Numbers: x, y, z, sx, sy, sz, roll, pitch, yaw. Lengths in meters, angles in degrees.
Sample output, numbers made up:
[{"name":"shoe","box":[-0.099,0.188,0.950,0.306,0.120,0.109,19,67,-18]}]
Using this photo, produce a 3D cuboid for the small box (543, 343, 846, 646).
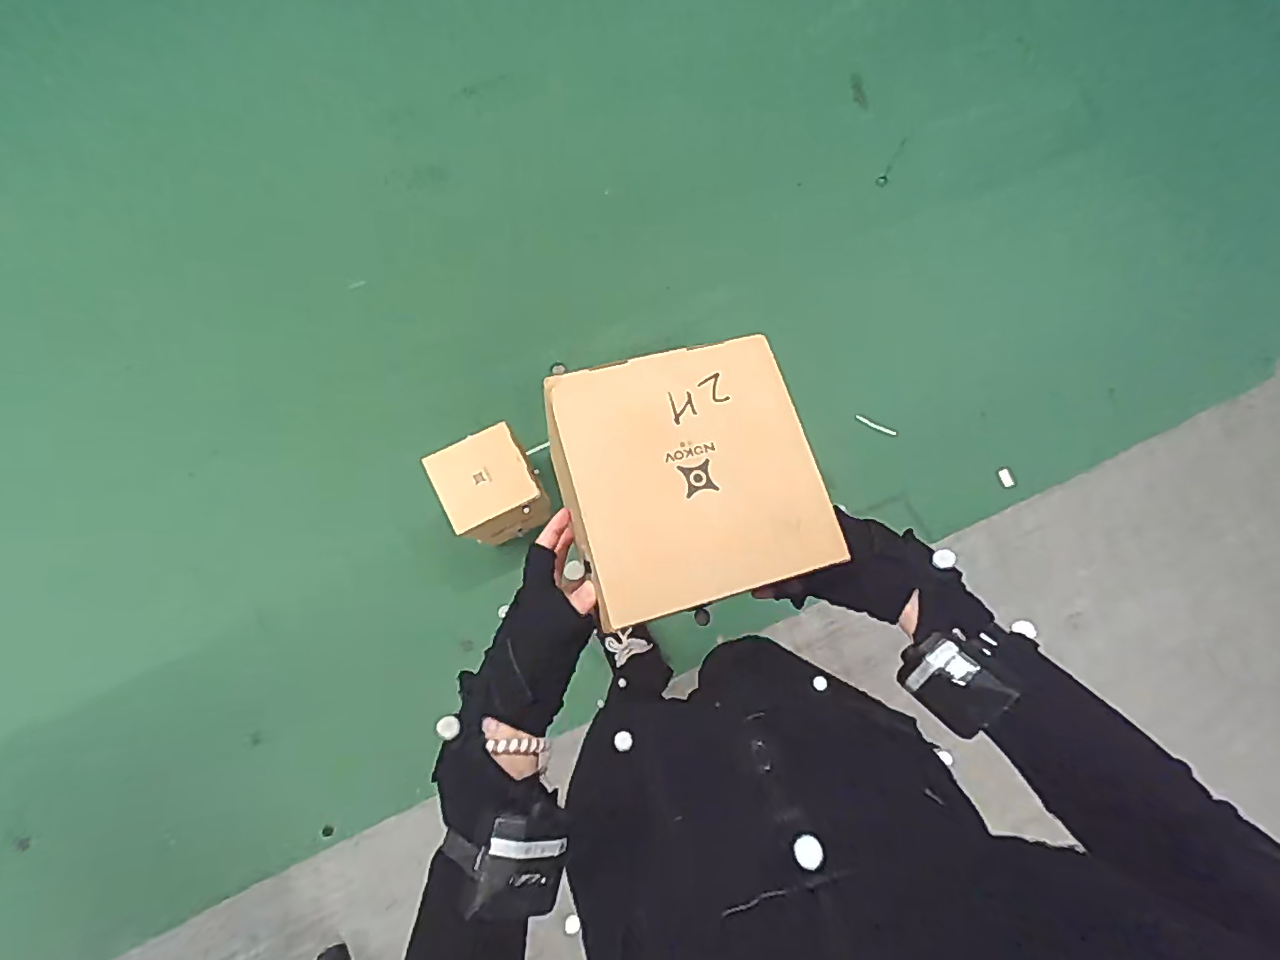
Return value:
[{"name":"small box","box":[0.026,0.021,0.429,0.168,0.176,0.179,-13,76,-11]}]

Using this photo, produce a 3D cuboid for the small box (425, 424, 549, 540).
[{"name":"small box","box":[-0.303,0.013,1.106,0.179,0.176,0.168,-27,82,-8]}]

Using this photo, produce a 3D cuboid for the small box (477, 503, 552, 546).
[{"name":"small box","box":[-0.316,0.043,1.266,0.168,0.176,0.179,-25,84,-8]}]
